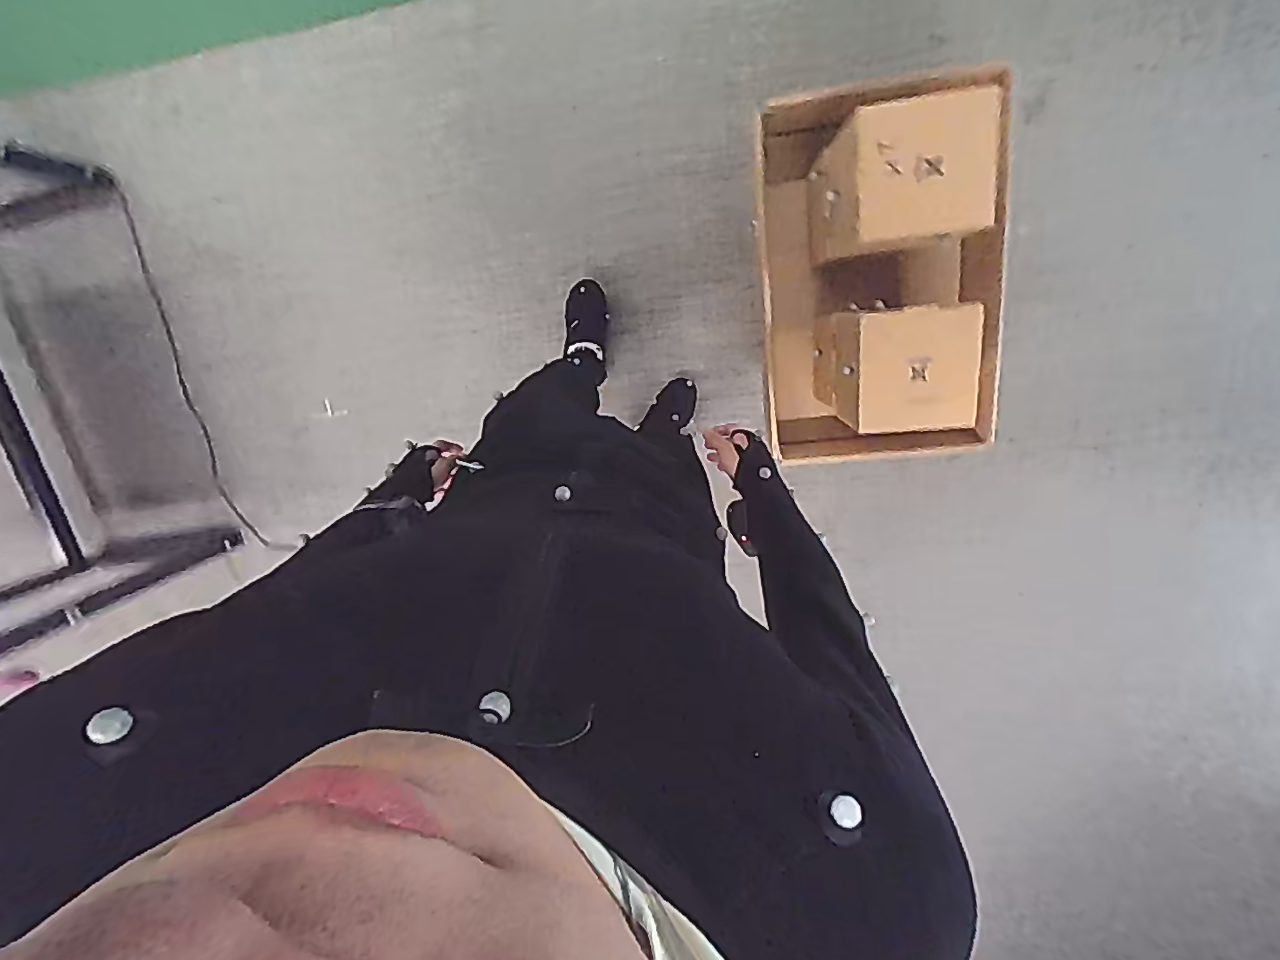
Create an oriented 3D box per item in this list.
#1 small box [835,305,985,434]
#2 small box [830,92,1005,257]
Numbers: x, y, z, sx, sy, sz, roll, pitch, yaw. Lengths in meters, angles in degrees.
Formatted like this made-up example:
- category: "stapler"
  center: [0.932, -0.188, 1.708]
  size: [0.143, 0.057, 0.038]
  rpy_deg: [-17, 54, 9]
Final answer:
- category: "small box"
  center: [0.413, -0.177, 0.857]
  size: [0.168, 0.176, 0.179]
  rpy_deg: [-2, 106, 8]
- category: "small box"
  center: [0.386, -0.428, 0.785]
  size: [0.179, 0.176, 0.168]
  rpy_deg: [-4, 105, 7]
